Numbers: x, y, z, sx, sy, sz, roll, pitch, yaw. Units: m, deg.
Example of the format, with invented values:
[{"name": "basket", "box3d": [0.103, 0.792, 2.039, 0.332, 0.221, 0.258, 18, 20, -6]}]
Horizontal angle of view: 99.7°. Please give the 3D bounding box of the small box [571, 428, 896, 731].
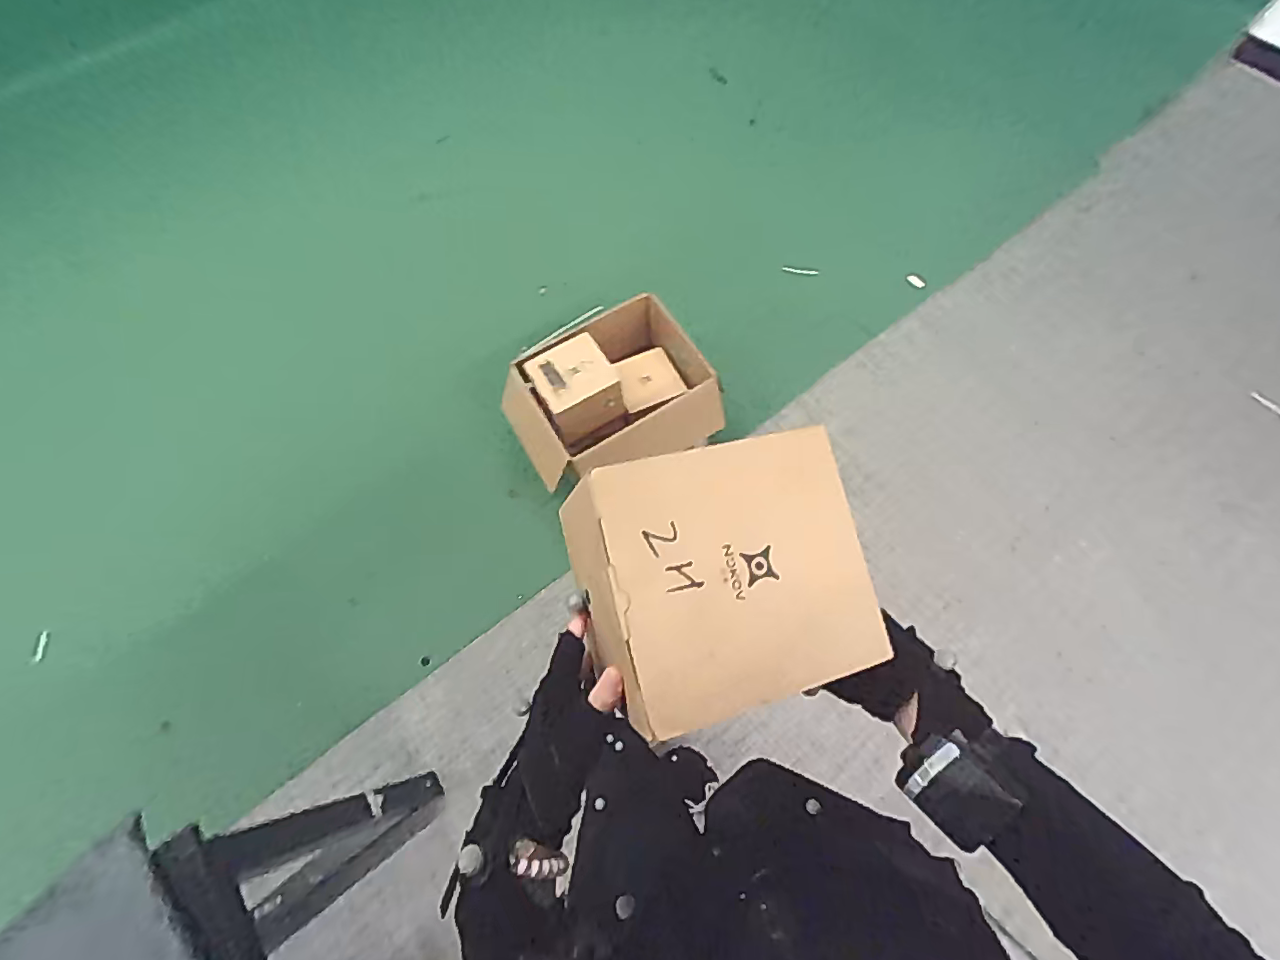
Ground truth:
[{"name": "small box", "box3d": [0.054, 0.070, 0.424, 0.179, 0.176, 0.168, -11, 80, -16]}]
